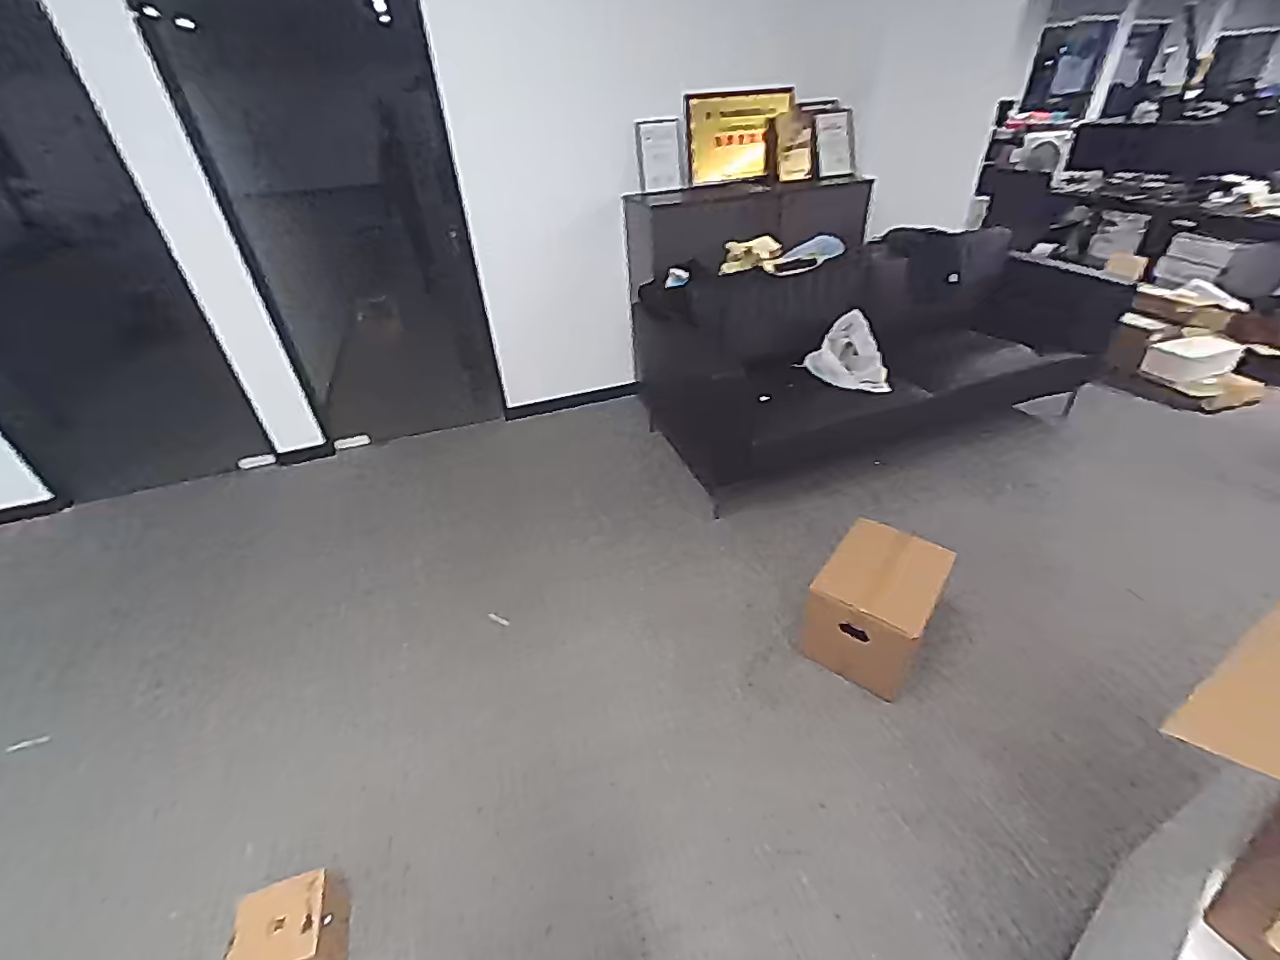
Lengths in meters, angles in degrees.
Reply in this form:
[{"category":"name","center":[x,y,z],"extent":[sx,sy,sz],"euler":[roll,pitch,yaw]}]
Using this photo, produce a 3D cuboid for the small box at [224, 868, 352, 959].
[{"category":"small box","center":[-0.748,0.986,1.160],"extent":[0.179,0.176,0.168],"euler":[-13,36,-13]}]
